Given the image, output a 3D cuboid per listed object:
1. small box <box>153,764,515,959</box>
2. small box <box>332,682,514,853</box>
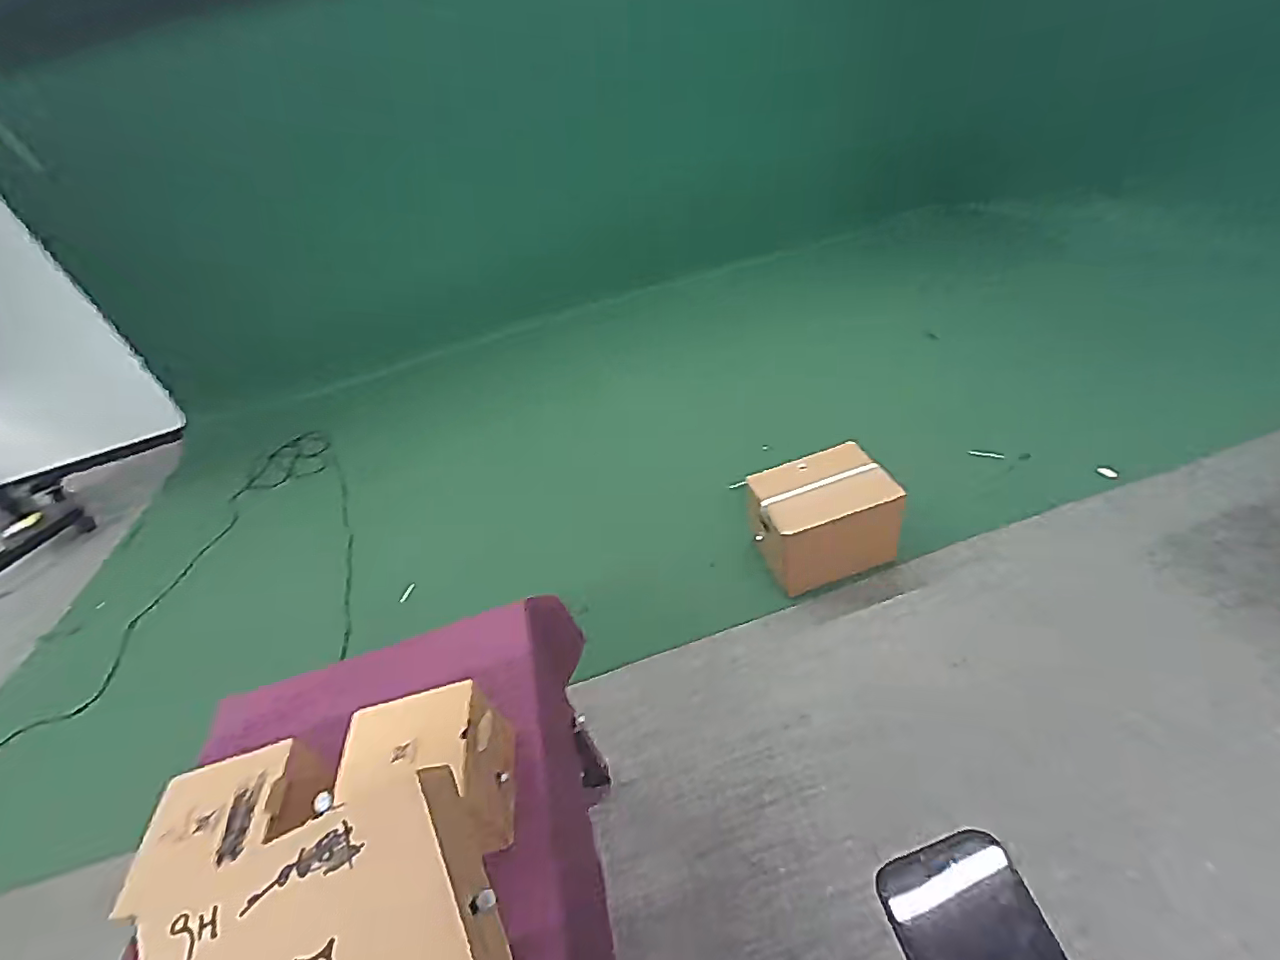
[{"bbox_3d":[-0.198,0.332,0.395,0.168,0.176,0.179,-20,69,-19],"label":"small box"},{"bbox_3d":[-0.292,0.421,0.758,0.179,0.176,0.168,-16,38,0],"label":"small box"}]
